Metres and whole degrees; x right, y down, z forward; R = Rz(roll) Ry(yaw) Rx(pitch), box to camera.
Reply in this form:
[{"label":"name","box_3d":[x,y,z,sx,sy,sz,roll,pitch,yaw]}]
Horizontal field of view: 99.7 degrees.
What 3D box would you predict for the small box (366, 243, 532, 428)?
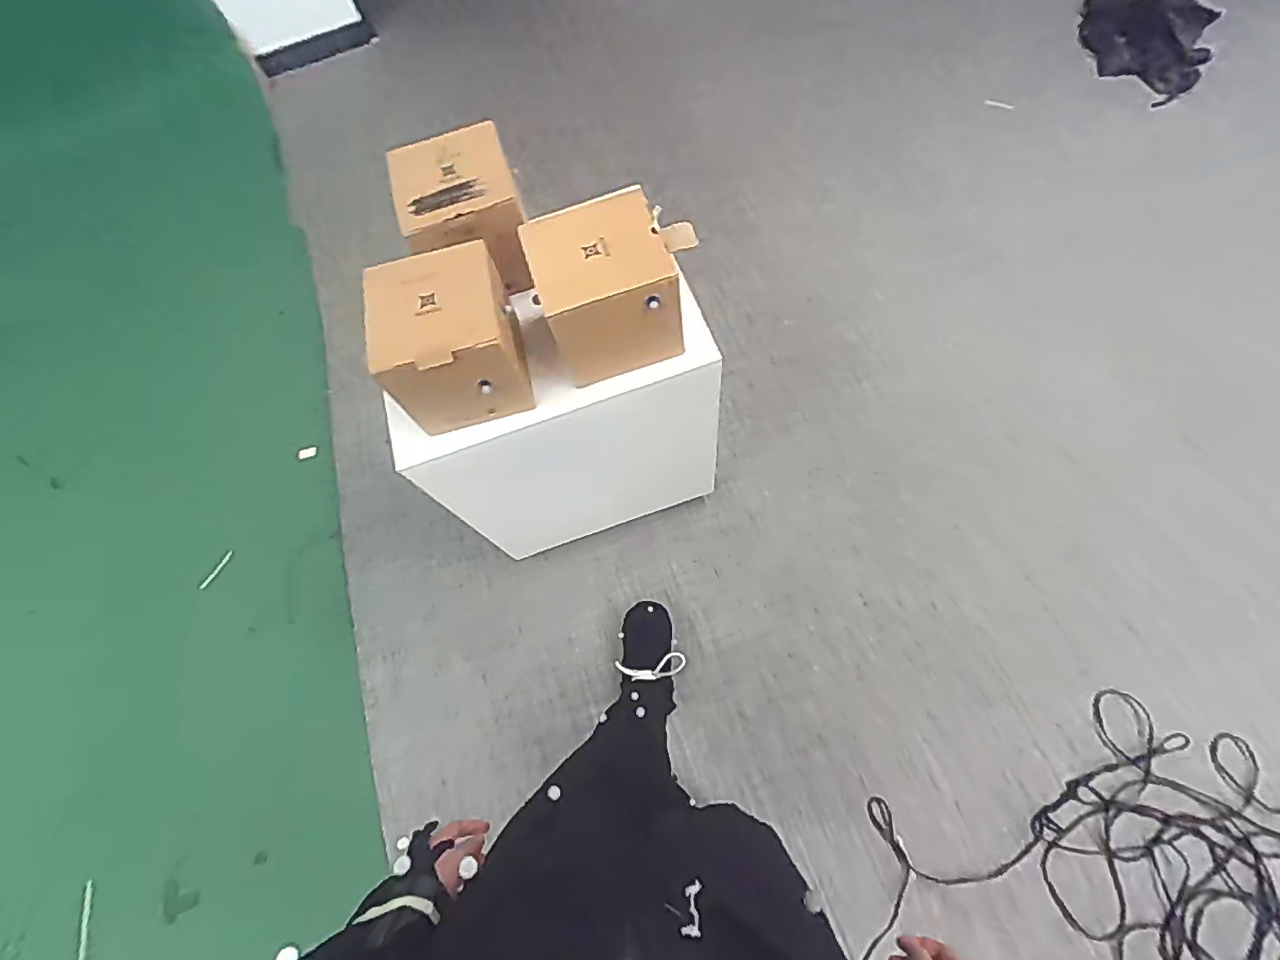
[{"label":"small box","box_3d":[-0.260,-0.190,0.760,0.168,0.176,0.179,-15,65,-2]}]
